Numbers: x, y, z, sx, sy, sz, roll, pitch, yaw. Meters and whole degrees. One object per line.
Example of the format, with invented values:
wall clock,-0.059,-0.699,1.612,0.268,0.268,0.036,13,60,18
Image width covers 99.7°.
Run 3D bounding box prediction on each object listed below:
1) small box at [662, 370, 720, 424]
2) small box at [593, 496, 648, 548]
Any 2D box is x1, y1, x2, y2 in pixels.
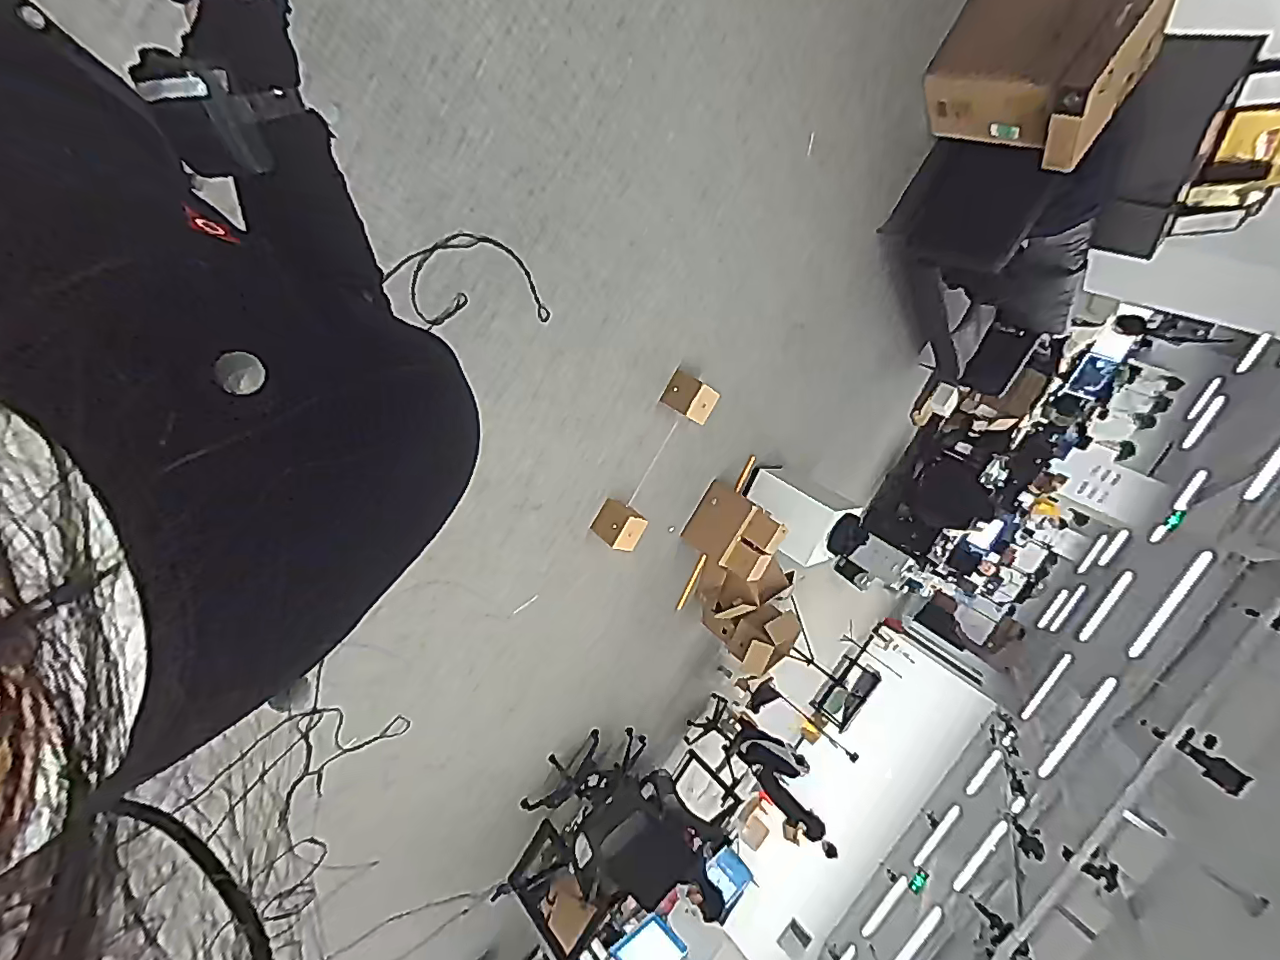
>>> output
small box,0.234,-0.386,2.491,0.179,0.176,0.168,18,104,-55
small box,-0.098,0.204,2.601,0.168,0.176,0.179,19,104,-55
